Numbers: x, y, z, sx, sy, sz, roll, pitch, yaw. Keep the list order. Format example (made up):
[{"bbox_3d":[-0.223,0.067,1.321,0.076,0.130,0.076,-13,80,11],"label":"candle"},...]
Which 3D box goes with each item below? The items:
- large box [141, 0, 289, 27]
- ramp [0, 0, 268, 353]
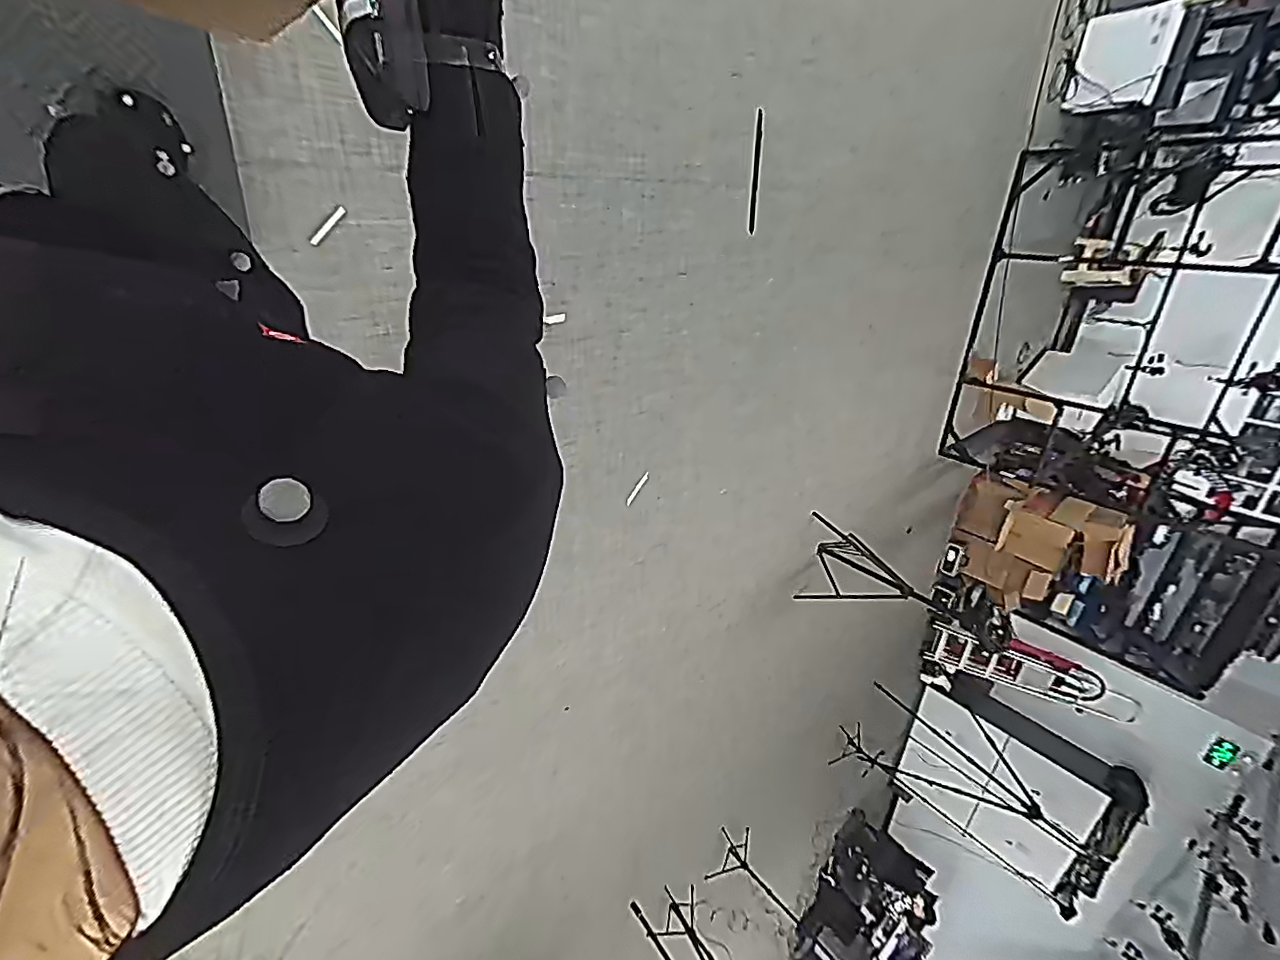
[{"bbox_3d":[-0.381,-0.436,0.203,0.408,0.320,0.320,-16,125,-38],"label":"large box"},{"bbox_3d":[-0.939,-0.683,0.809,0.509,0.206,0.991,-19,123,-36],"label":"ramp"}]
